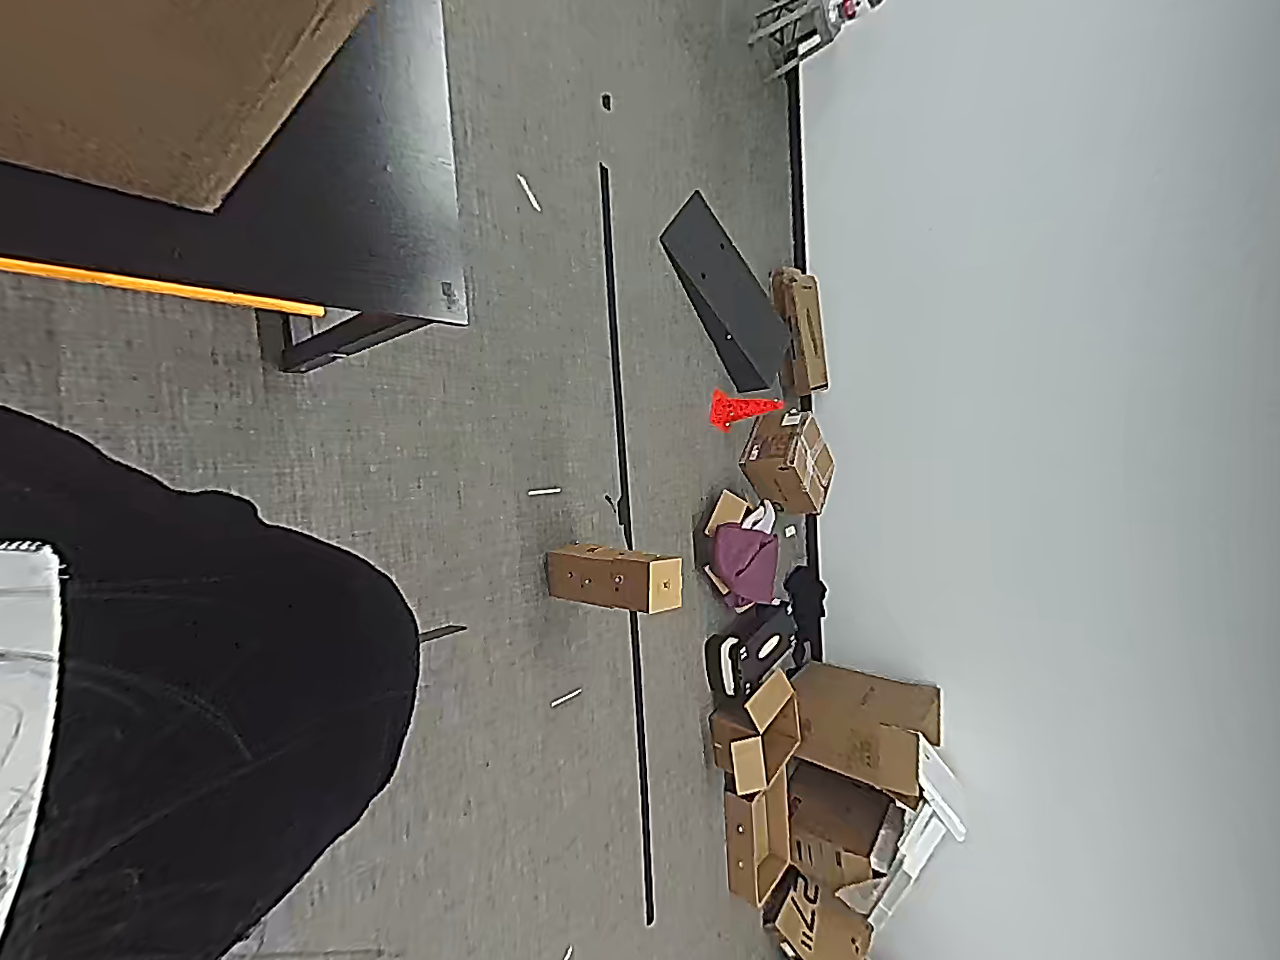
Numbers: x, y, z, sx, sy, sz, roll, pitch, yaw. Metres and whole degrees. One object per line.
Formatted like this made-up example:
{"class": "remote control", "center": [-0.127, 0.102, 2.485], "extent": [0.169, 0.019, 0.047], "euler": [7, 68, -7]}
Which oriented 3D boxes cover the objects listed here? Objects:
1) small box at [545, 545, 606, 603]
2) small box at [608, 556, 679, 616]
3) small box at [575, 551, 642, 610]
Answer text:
{"class": "small box", "center": [-0.236, 0.344, 2.010], "extent": [0.168, 0.176, 0.179], "euler": [-12, 99, -50]}
{"class": "small box", "center": [0.013, 0.346, 1.798], "extent": [0.179, 0.176, 0.168], "euler": [3, 87, -49]}
{"class": "small box", "center": [-0.109, 0.347, 1.906], "extent": [0.179, 0.176, 0.168], "euler": [-6, 94, -50]}
